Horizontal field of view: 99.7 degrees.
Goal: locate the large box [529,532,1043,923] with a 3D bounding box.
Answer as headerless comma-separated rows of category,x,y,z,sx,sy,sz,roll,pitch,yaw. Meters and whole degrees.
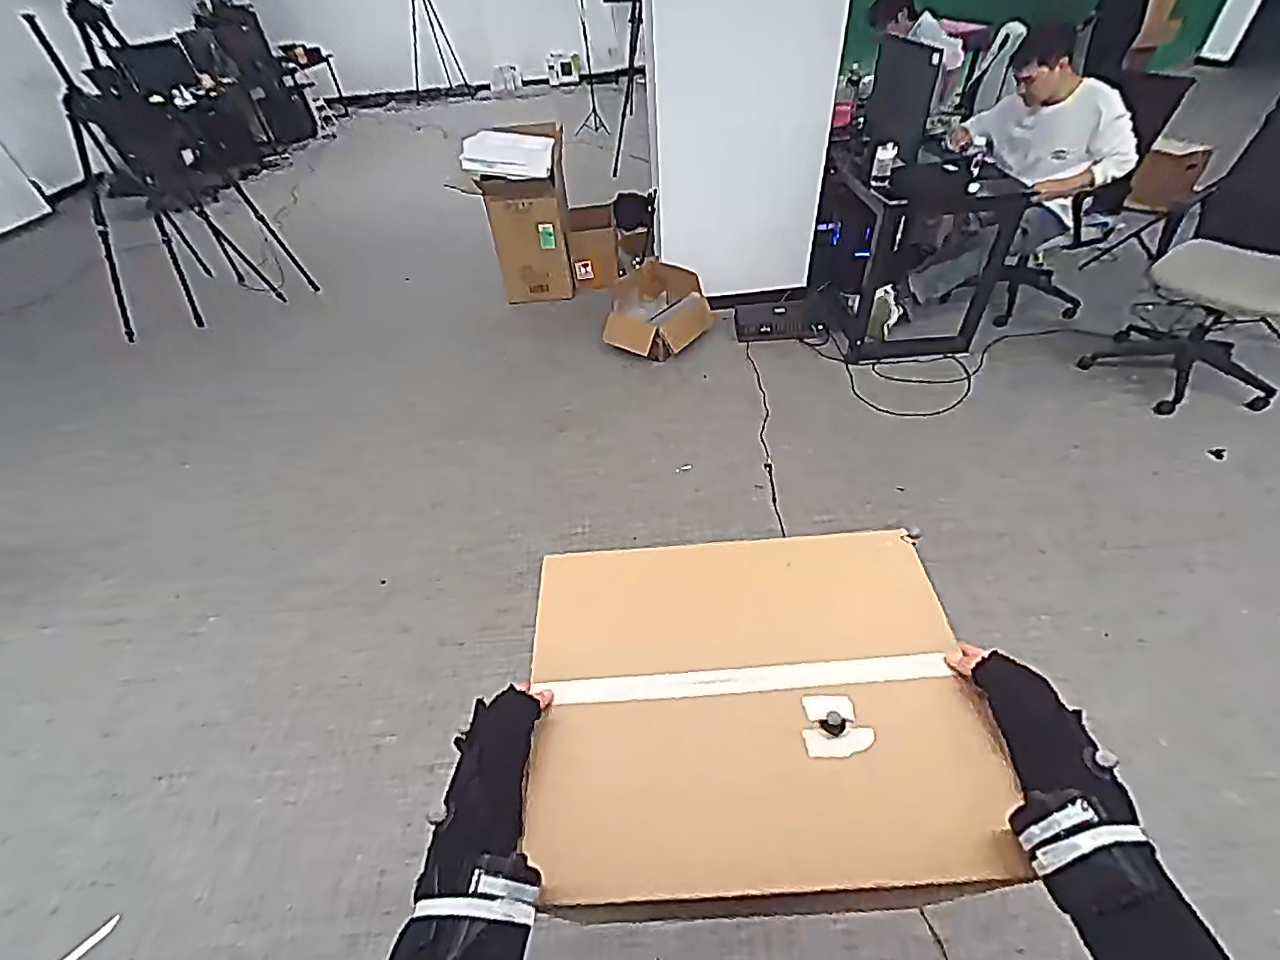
large box,0.111,0.287,0.618,0.408,0.320,0.320,-4,49,1
